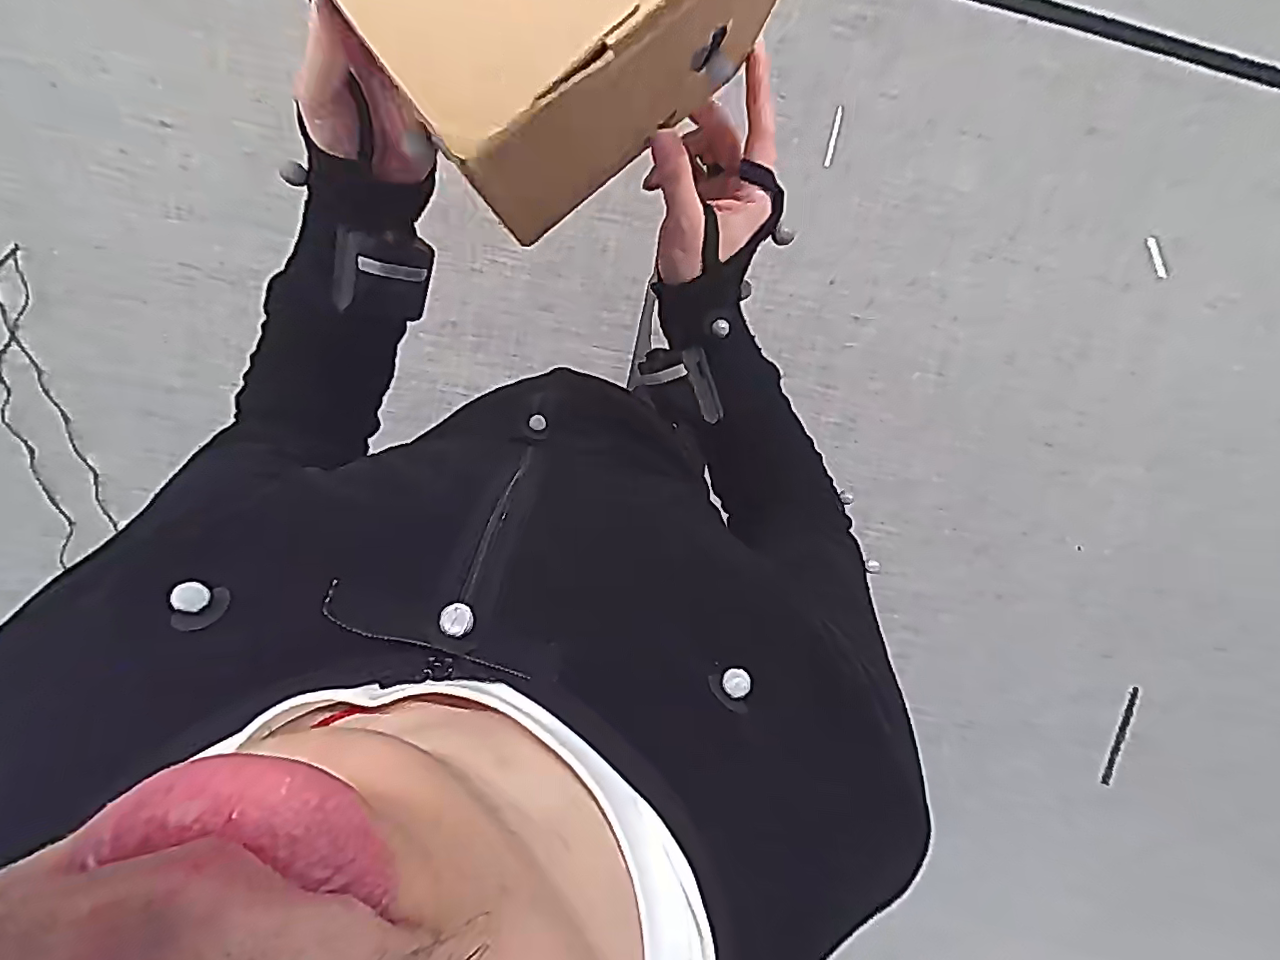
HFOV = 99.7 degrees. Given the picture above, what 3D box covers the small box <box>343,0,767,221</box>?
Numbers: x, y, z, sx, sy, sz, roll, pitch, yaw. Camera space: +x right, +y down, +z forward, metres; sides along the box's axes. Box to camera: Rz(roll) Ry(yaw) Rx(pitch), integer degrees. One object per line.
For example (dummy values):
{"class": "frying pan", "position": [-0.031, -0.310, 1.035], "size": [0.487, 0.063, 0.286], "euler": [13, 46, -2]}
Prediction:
{"class": "small box", "position": [-0.049, -0.240, 0.235], "size": [0.168, 0.176, 0.179], "euler": [-38, 105, 5]}
